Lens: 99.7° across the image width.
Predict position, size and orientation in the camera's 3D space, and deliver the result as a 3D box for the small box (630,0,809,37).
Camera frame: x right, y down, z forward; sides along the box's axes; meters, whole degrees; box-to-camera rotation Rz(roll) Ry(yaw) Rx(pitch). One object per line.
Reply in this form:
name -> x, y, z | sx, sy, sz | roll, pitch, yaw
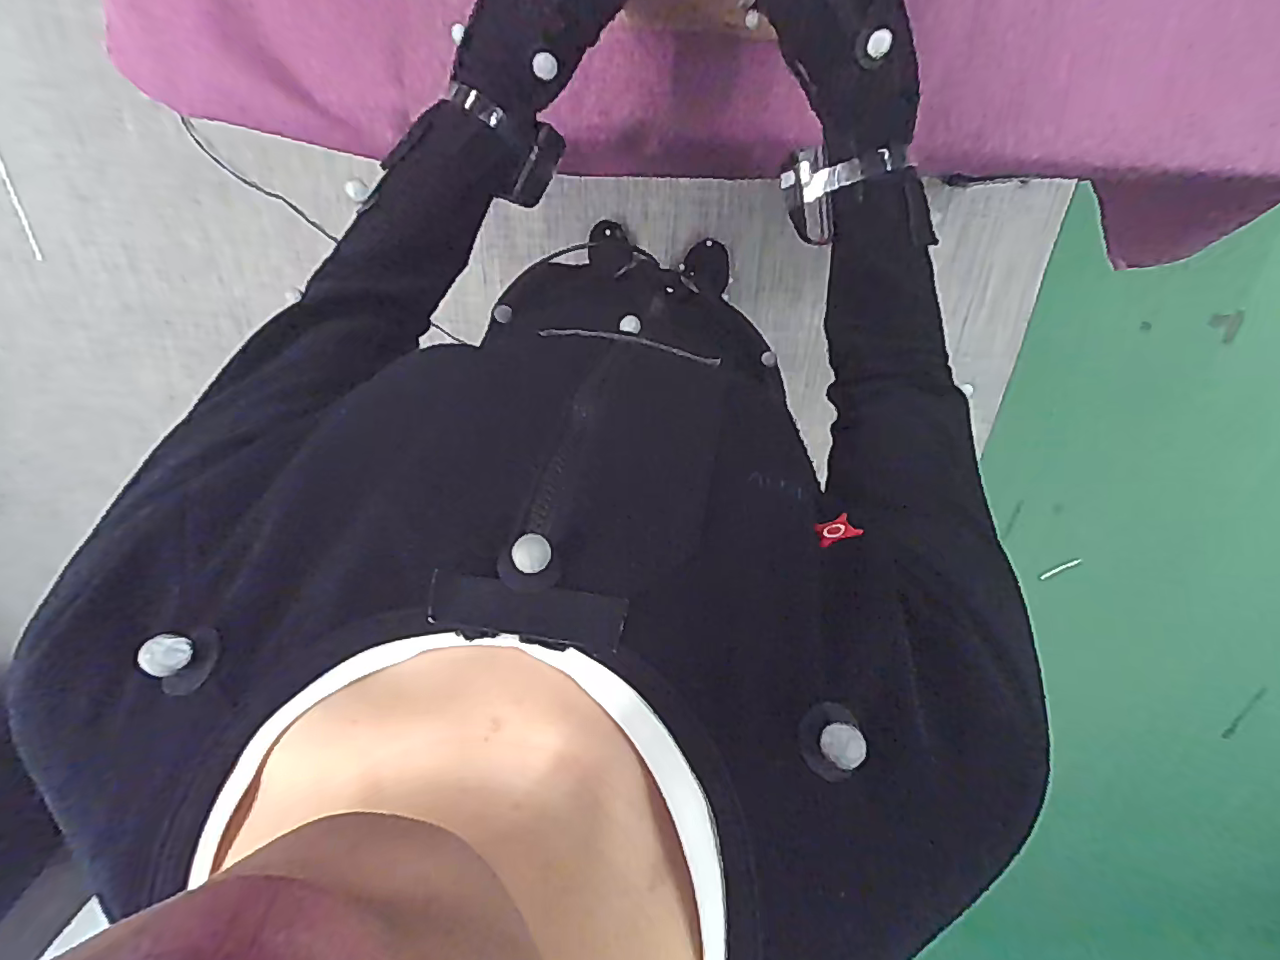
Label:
small box -> 0.073, -0.481, 0.421 | 0.168, 0.176, 0.179 | 7, 116, 1
